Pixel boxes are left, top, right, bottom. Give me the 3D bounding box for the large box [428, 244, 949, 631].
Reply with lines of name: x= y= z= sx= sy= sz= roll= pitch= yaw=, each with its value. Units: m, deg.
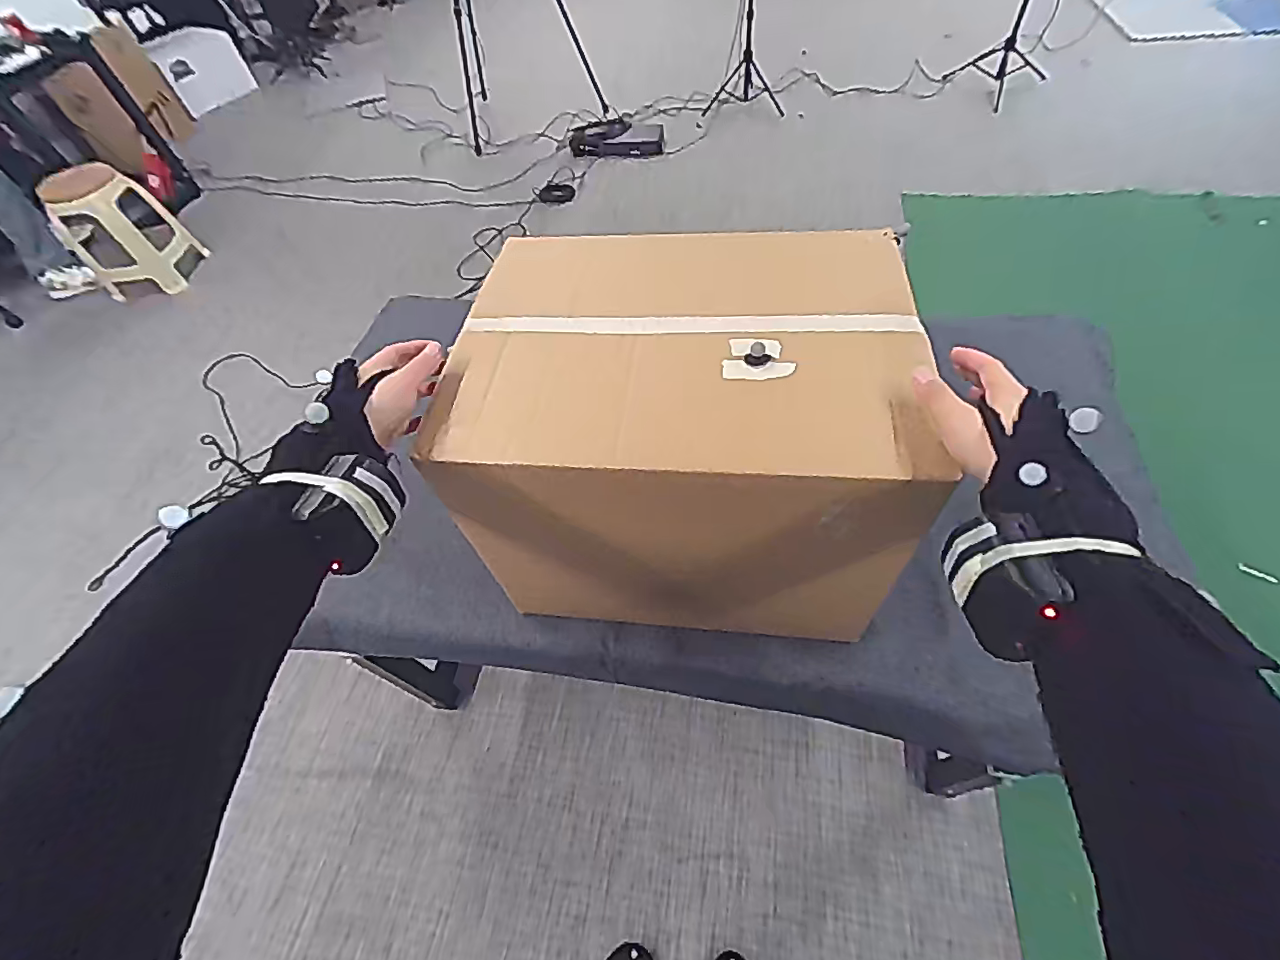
large box: x=0.050 y=-0.041 z=0.612 sx=0.408 sy=0.320 sz=0.320 roll=2 pitch=54 yaw=8
